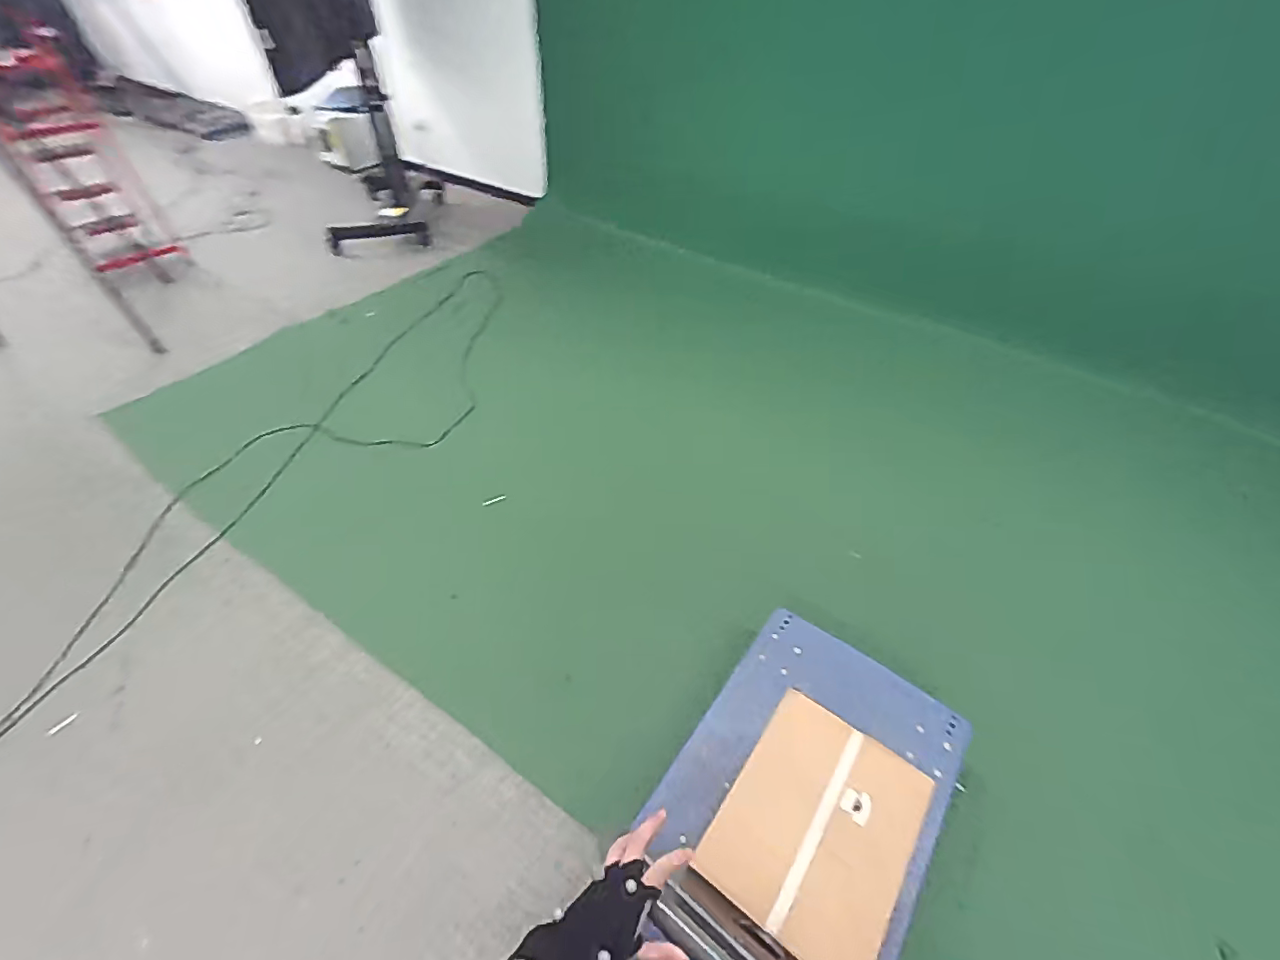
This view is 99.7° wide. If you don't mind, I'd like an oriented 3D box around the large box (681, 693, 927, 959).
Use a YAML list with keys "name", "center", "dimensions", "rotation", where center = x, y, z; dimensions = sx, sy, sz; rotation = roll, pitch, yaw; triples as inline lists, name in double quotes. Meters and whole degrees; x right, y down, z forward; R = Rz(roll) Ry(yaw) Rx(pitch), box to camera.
- name: "large box"
  center: [0.322, 0.746, 1.111]
  dimensions: [0.320, 0.320, 0.408]
  rotation: [30, 51, 24]
